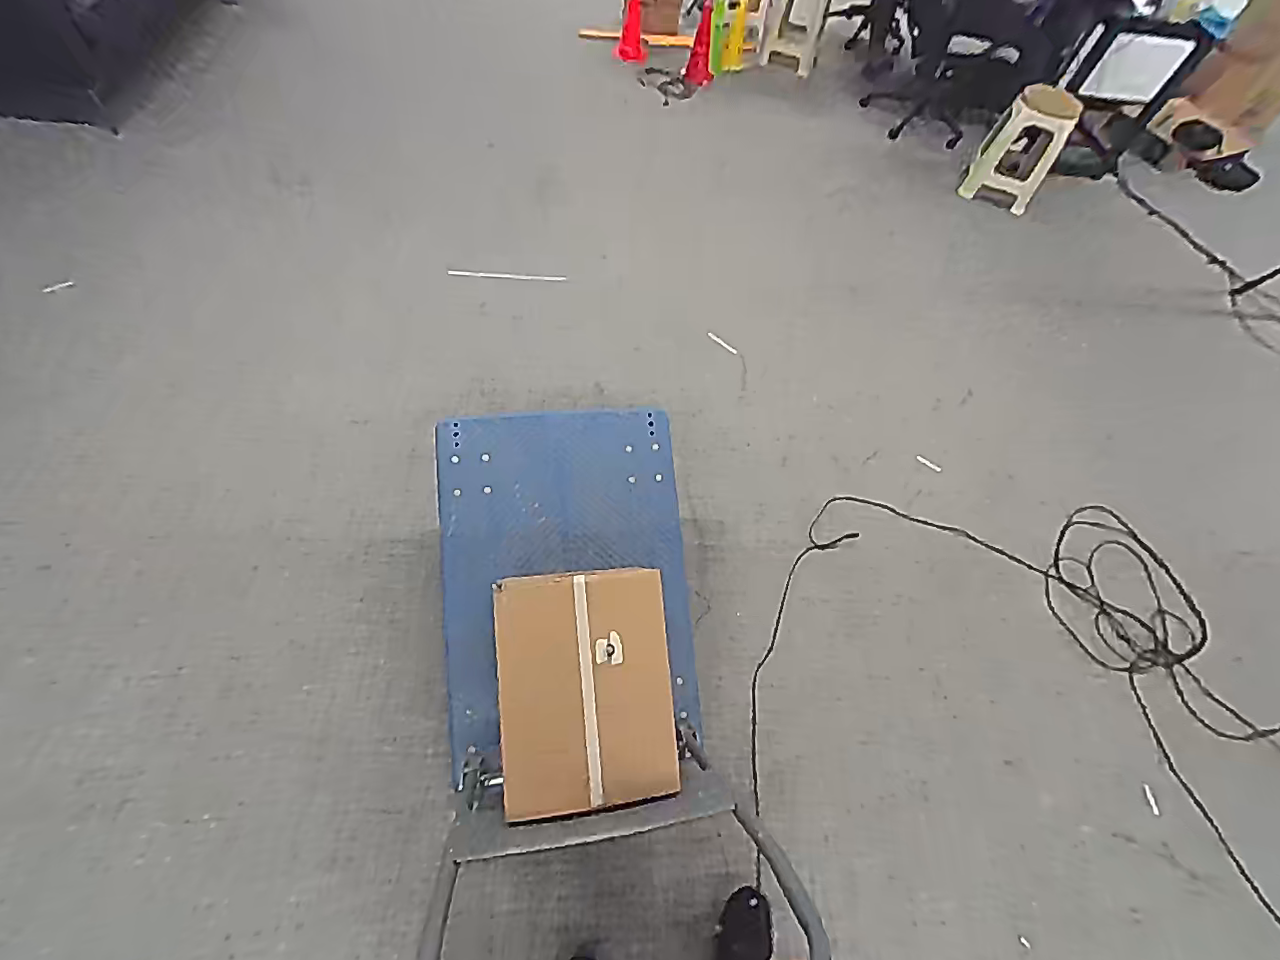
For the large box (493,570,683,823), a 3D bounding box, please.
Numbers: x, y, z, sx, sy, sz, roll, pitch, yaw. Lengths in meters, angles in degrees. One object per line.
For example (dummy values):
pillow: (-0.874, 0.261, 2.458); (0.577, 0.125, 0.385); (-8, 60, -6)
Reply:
large box: (-0.117, 0.409, 1.125); (0.320, 0.320, 0.408); (-5, 81, -11)
